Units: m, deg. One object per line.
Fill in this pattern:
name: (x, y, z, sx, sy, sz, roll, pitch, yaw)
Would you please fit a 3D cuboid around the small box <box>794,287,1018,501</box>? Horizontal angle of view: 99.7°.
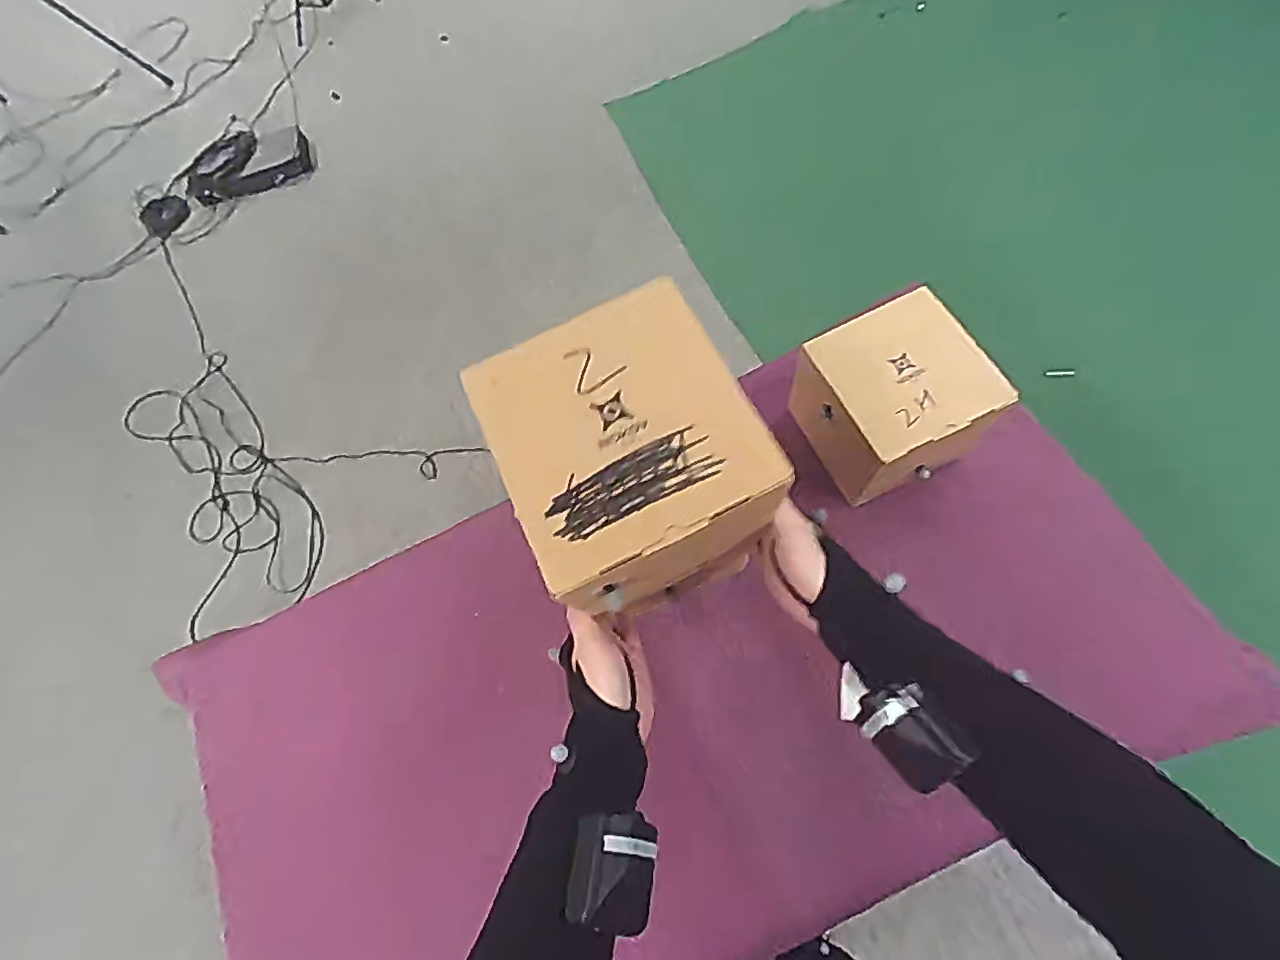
small box: (0.312, -0.098, 0.684, 0.168, 0.176, 0.179, -25, 70, 1)
